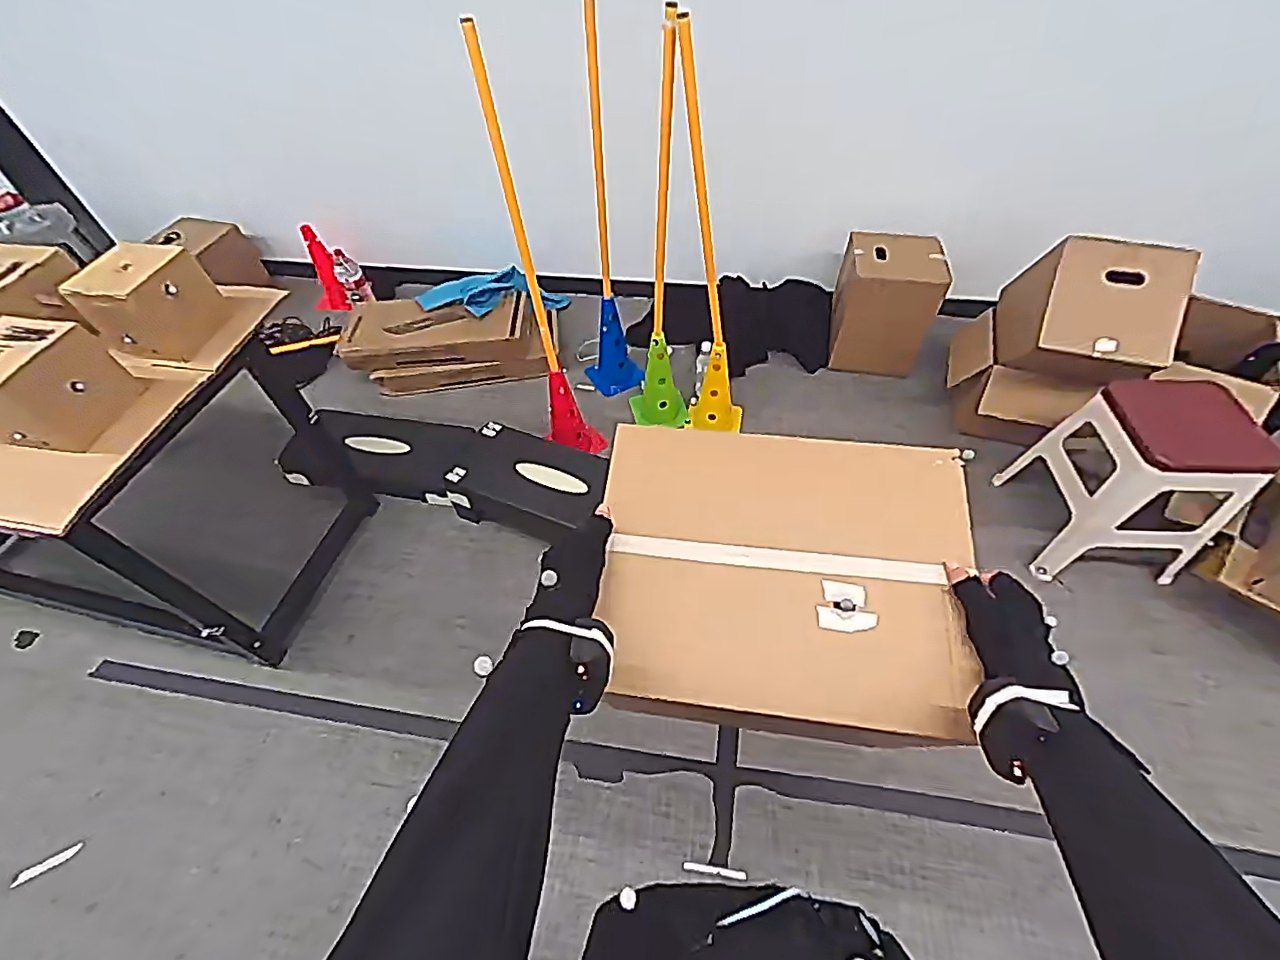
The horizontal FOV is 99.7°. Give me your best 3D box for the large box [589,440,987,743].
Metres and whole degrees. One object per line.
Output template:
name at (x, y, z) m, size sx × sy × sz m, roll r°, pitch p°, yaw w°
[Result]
large box at (0.165, 0.166, 0.739) m, size 0.408 × 0.320 × 0.320 m, roll 5°, pitch 65°, yaw 6°
